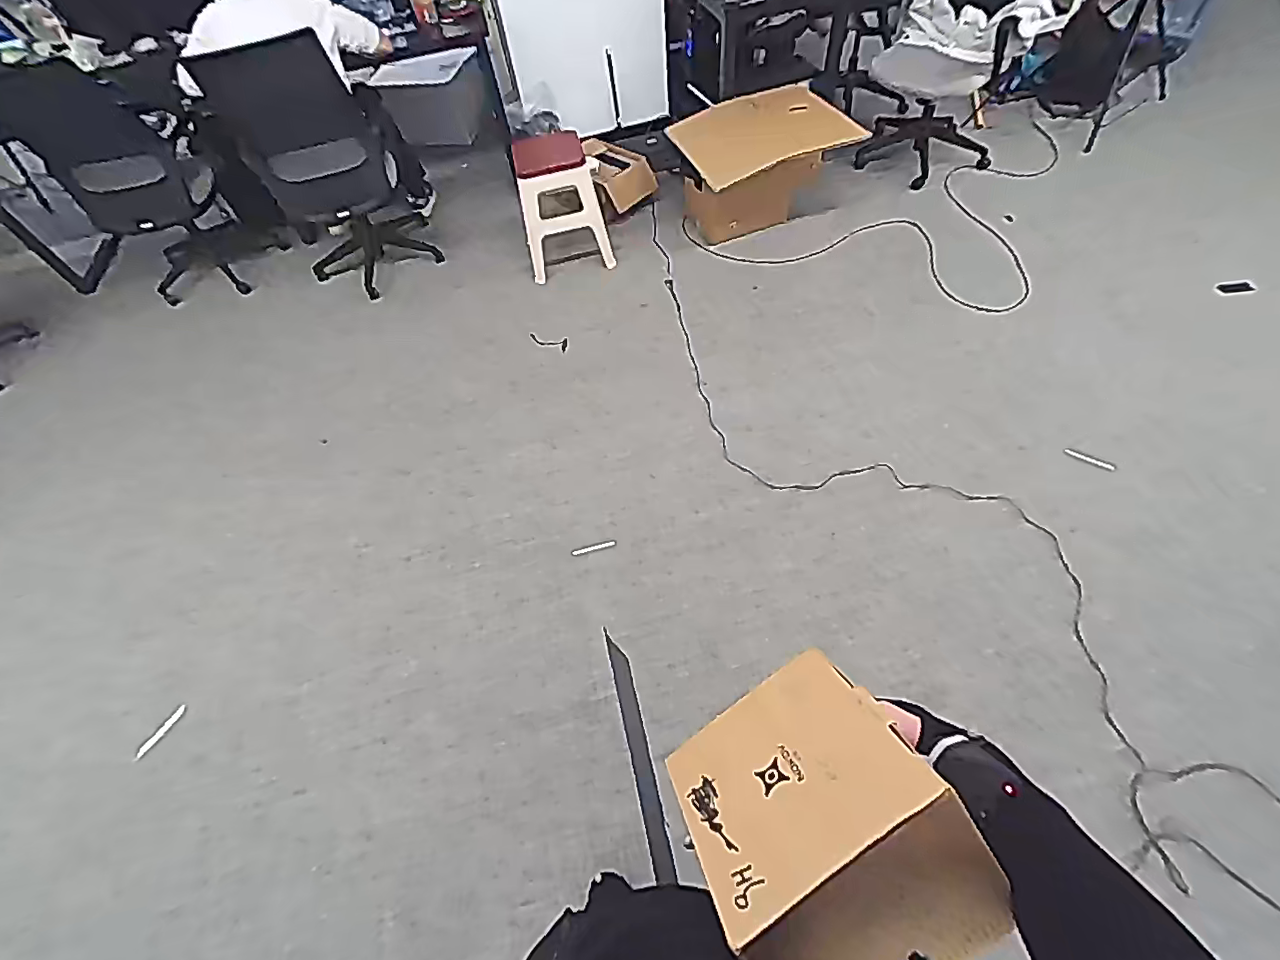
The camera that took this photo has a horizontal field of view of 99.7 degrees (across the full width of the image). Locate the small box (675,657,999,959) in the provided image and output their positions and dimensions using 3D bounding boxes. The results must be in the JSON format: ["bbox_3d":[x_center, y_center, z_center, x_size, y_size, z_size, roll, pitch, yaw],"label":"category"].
[{"bbox_3d":[0.161,0.296,0.456,0.179,0.176,0.168,-36,19,-2],"label":"small box"}]
